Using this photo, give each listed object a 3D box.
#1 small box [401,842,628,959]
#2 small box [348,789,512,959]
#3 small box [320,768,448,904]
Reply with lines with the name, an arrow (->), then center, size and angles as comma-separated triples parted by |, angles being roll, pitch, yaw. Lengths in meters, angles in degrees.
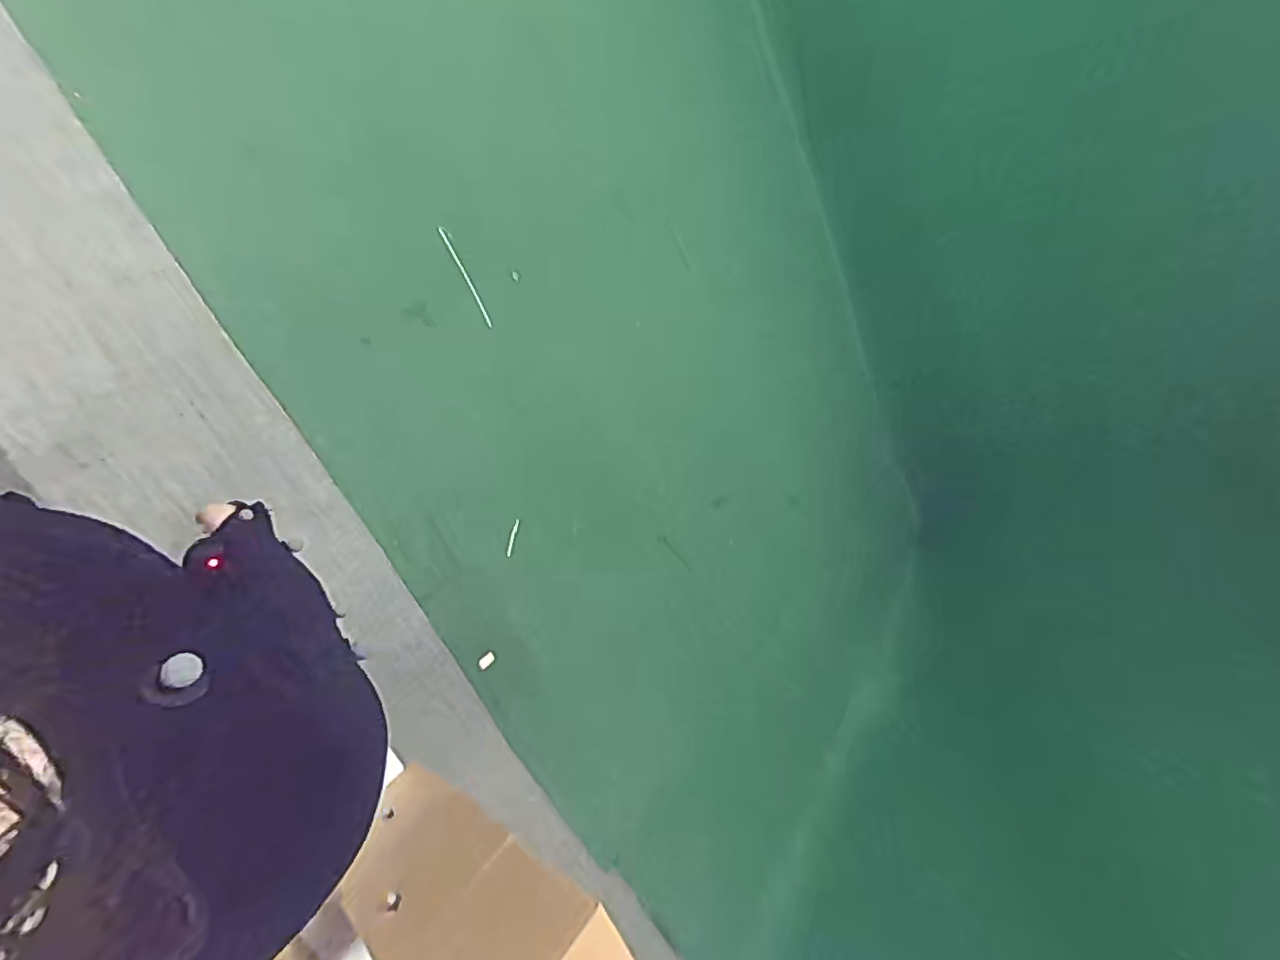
small box -> -0.127, 0.537, 0.571 | 0.179, 0.176, 0.168 | -36, 111, -38
small box -> -0.241, 0.543, 0.688 | 0.179, 0.176, 0.168 | -39, 113, -38
small box -> -0.345, 0.567, 0.811 | 0.168, 0.176, 0.179 | -37, 110, -37
